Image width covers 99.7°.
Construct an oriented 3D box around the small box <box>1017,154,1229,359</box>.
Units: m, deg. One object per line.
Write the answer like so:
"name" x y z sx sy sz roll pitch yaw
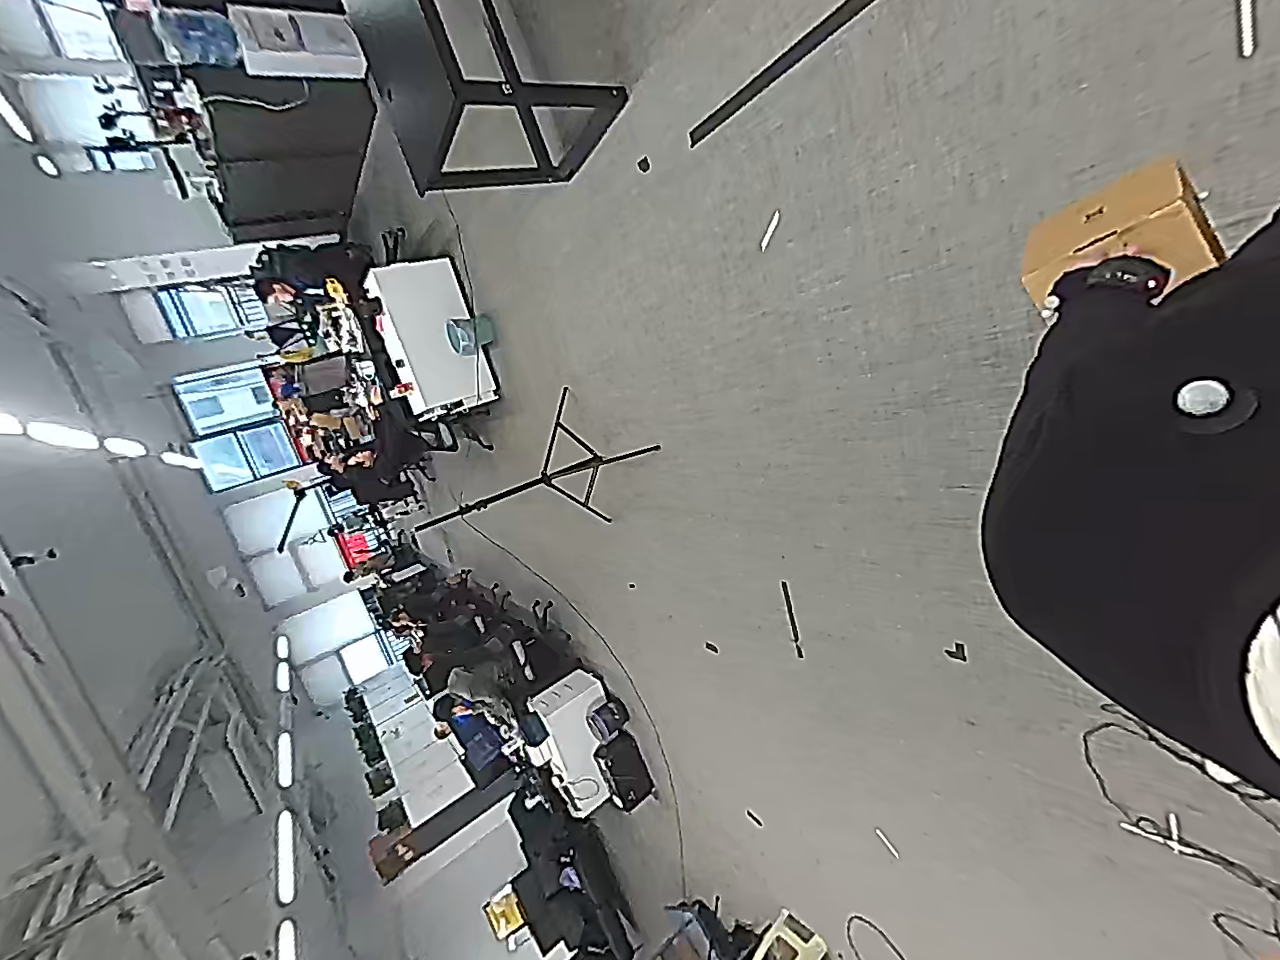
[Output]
"small box" 0.650 -0.289 0.734 0.176 0.179 0.168 47 144 -15
